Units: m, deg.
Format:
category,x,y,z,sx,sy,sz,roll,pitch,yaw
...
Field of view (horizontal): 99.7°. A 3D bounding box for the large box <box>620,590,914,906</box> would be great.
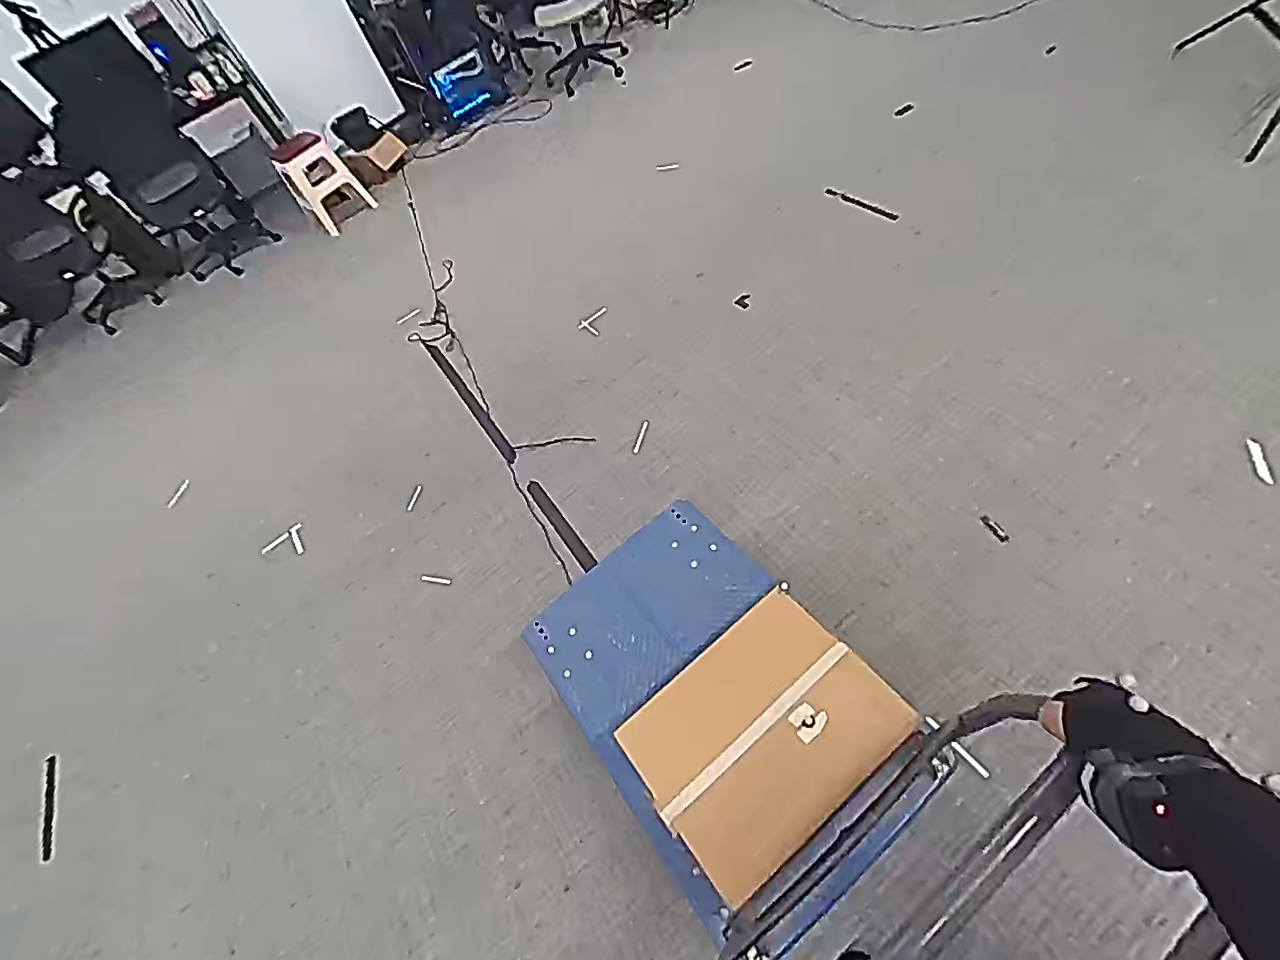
category,x,y,z,sx,sy,sz,roll,pitch,yaw
large box,0.236,0.499,1.023,0.408,0.320,0.320,-38,55,-11
